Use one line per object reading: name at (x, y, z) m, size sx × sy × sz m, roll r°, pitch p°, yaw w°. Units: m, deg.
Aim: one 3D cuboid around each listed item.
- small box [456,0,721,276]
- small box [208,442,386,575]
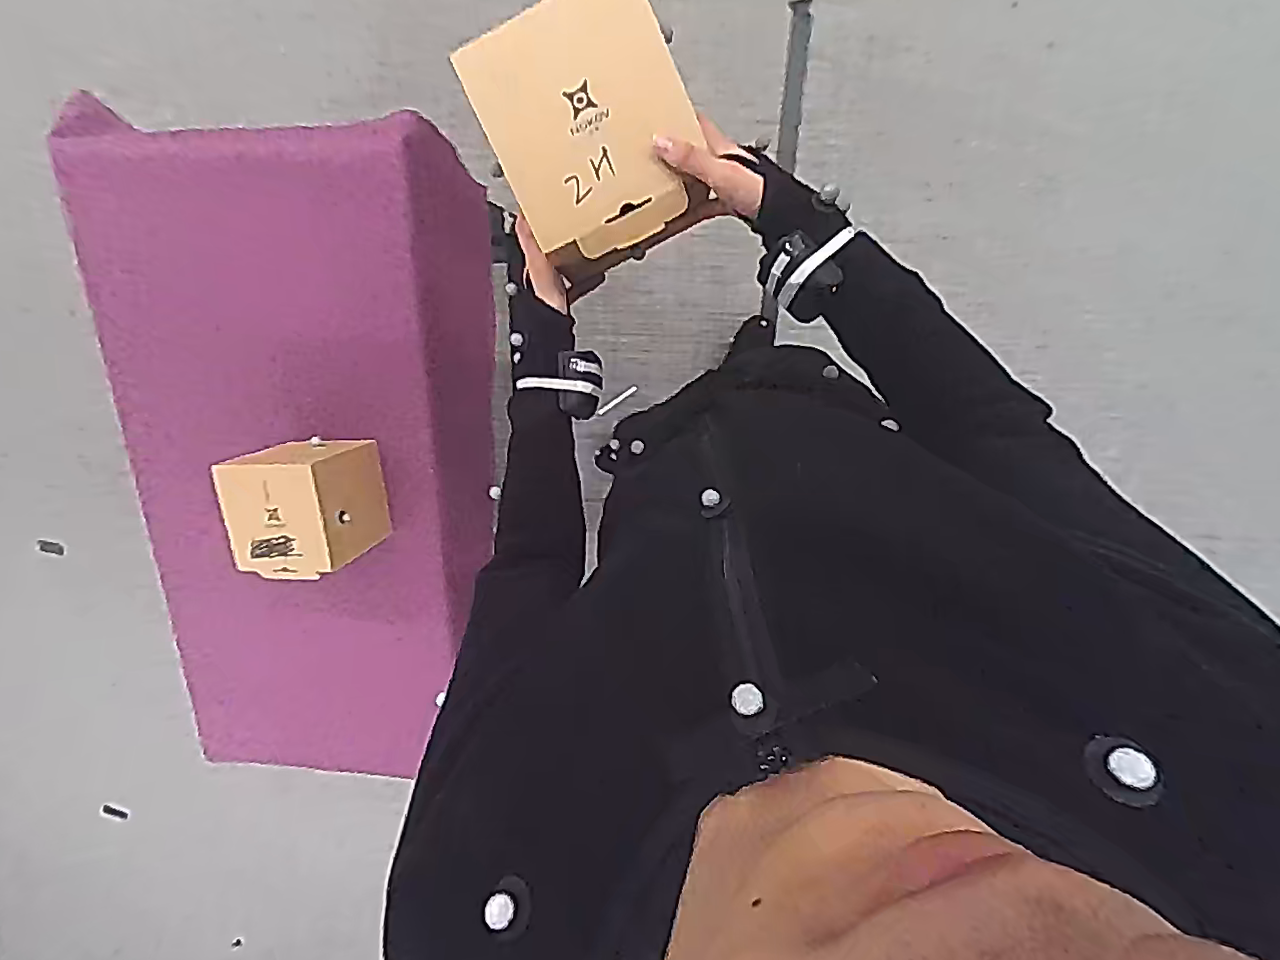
small box at (-0.039, -0.321, 0.516) m, size 0.168 × 0.176 × 0.179 m, roll -24°, pitch 99°, yaw 7°
small box at (-0.547, 0.041, 0.891) m, size 0.168 × 0.176 × 0.179 m, roll -1°, pitch 106°, yaw 7°
